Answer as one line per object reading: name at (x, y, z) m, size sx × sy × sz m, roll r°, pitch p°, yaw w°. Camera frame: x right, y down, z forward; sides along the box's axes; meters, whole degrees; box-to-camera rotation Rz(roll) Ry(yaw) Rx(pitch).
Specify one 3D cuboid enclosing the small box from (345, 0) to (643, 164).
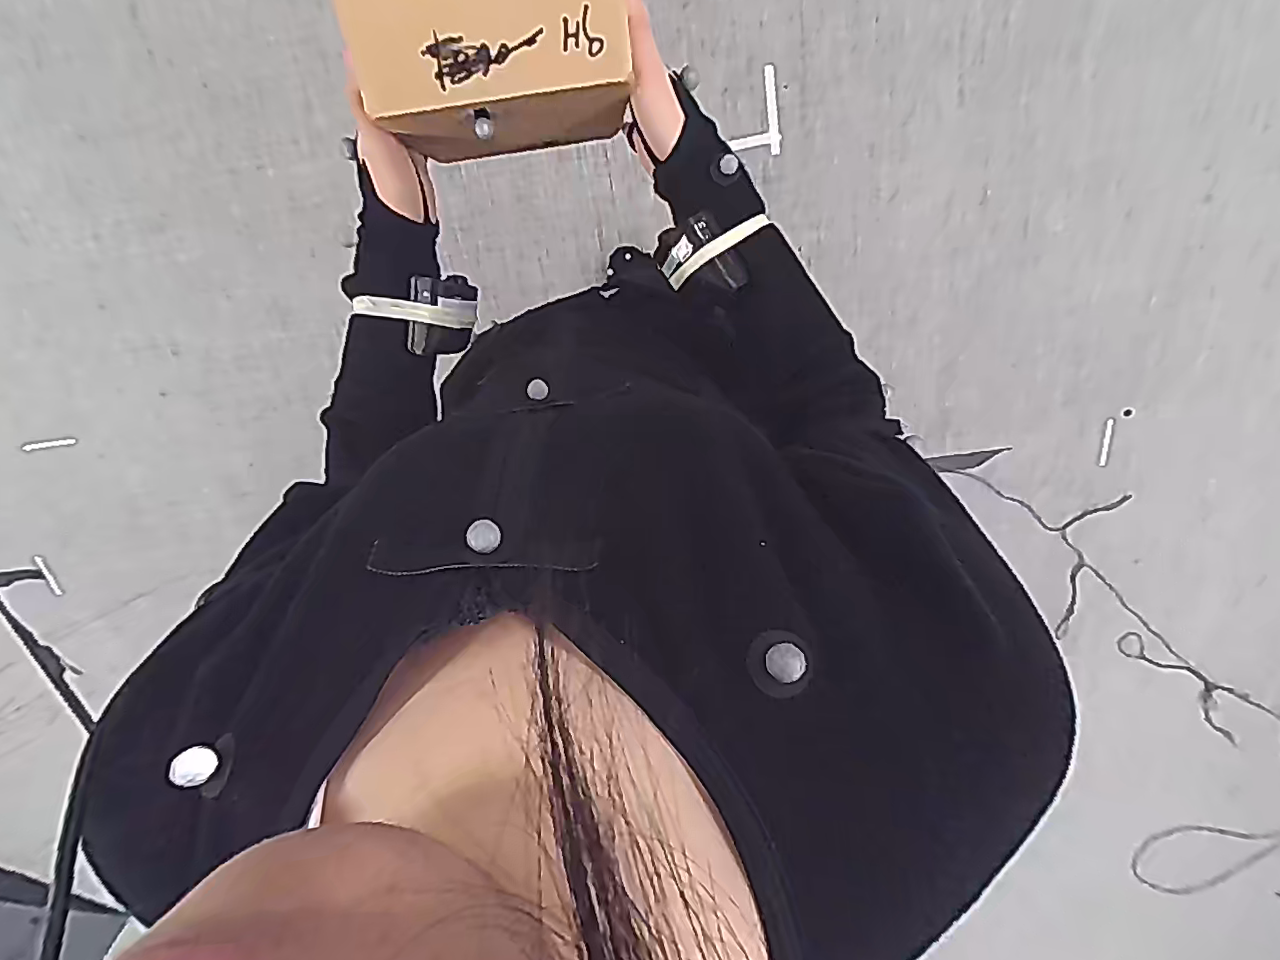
small box at (-0.098, -0.338, 0.369) m, size 0.168 × 0.176 × 0.179 m, roll -10°, pitch 113°, yaw -2°

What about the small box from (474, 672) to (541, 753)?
small box at (-0.424, 0.742, 1.739) m, size 0.179 × 0.176 × 0.168 m, roll 7°, pitch 110°, yaw -6°
